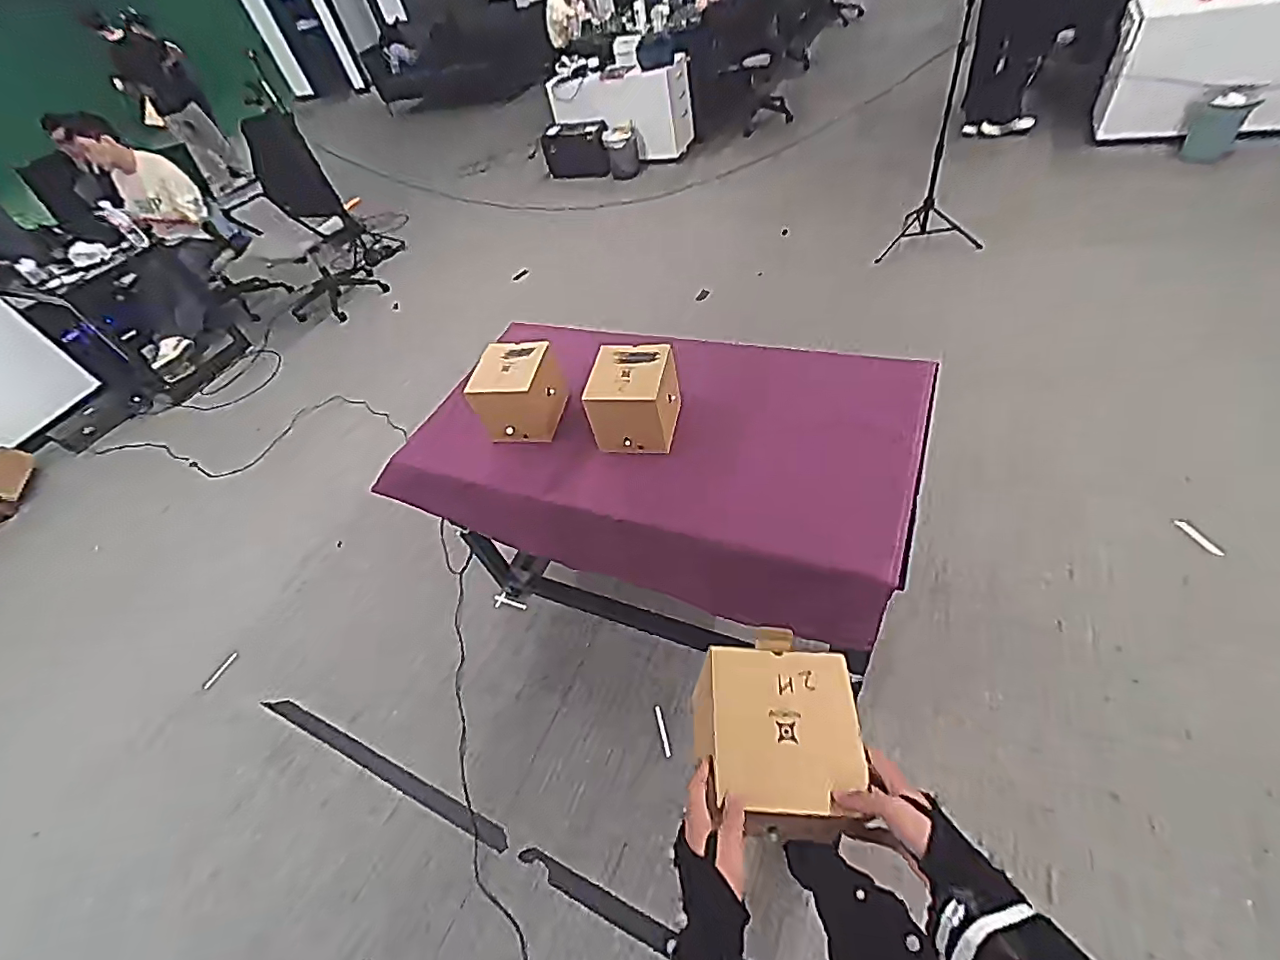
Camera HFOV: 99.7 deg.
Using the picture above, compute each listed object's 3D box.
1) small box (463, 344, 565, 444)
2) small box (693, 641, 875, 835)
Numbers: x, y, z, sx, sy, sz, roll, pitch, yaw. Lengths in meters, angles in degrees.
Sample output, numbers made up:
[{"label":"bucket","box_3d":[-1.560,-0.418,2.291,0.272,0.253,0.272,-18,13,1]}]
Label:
[{"label":"small box","box_3d":[-0.295,-0.208,1.314,0.168,0.176,0.179,0,51,16]},{"label":"small box","box_3d":[0.157,0.317,0.656,0.168,0.176,0.179,4,49,-1]}]
